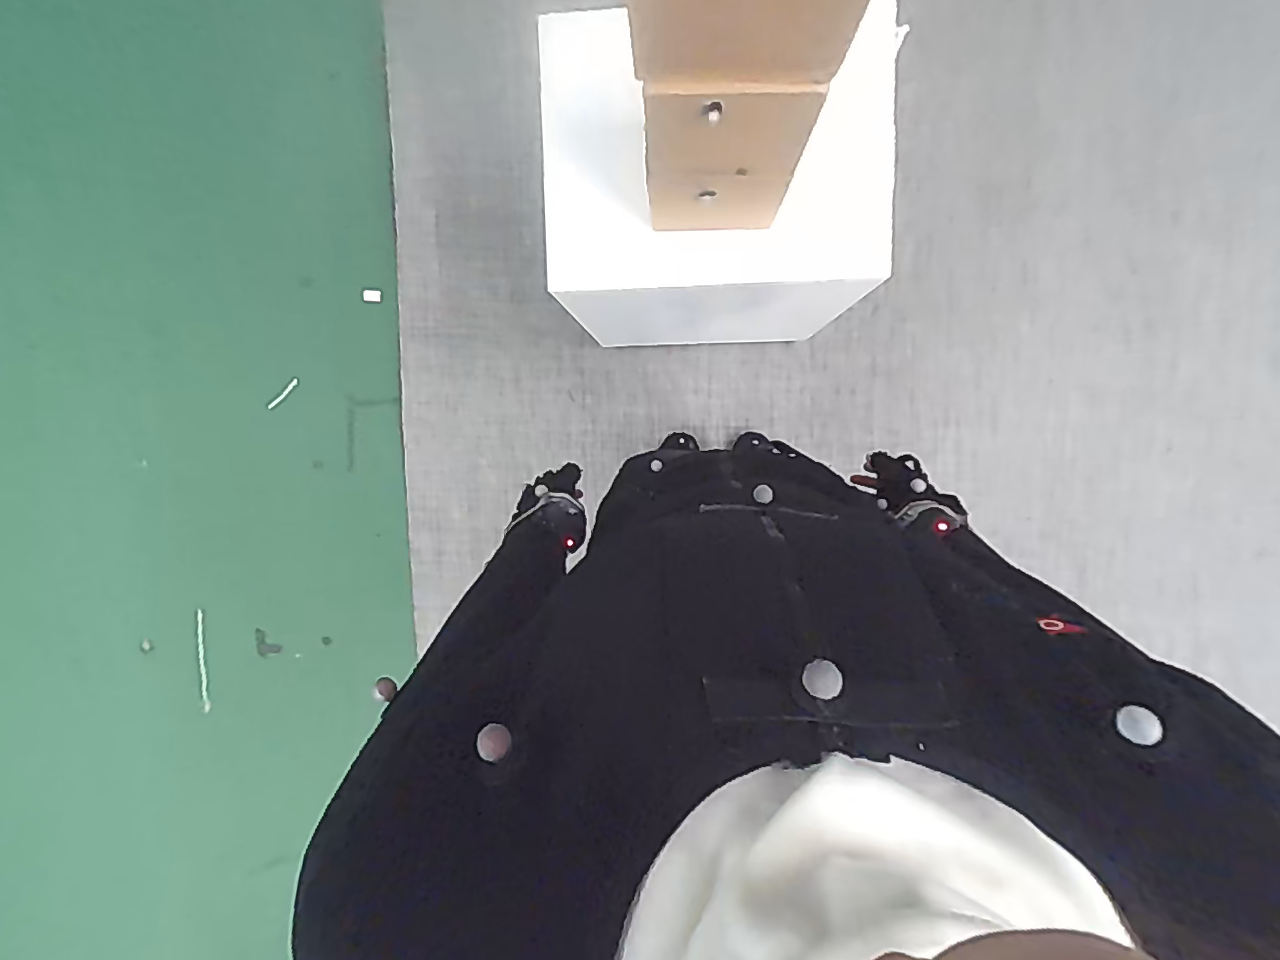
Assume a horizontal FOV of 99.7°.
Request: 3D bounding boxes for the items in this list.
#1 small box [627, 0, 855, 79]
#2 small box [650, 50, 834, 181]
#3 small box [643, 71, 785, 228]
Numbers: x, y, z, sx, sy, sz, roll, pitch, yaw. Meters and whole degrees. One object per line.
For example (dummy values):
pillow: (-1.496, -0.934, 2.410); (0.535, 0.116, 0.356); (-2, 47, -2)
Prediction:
small box: (0.078, -0.426, 0.391); (0.179, 0.176, 0.168); (3, 97, 3)
small box: (0.093, -0.436, 0.554); (0.168, 0.176, 0.179); (0, 96, 3)
small box: (0.099, -0.447, 0.715); (0.179, 0.176, 0.168); (1, 95, 4)
